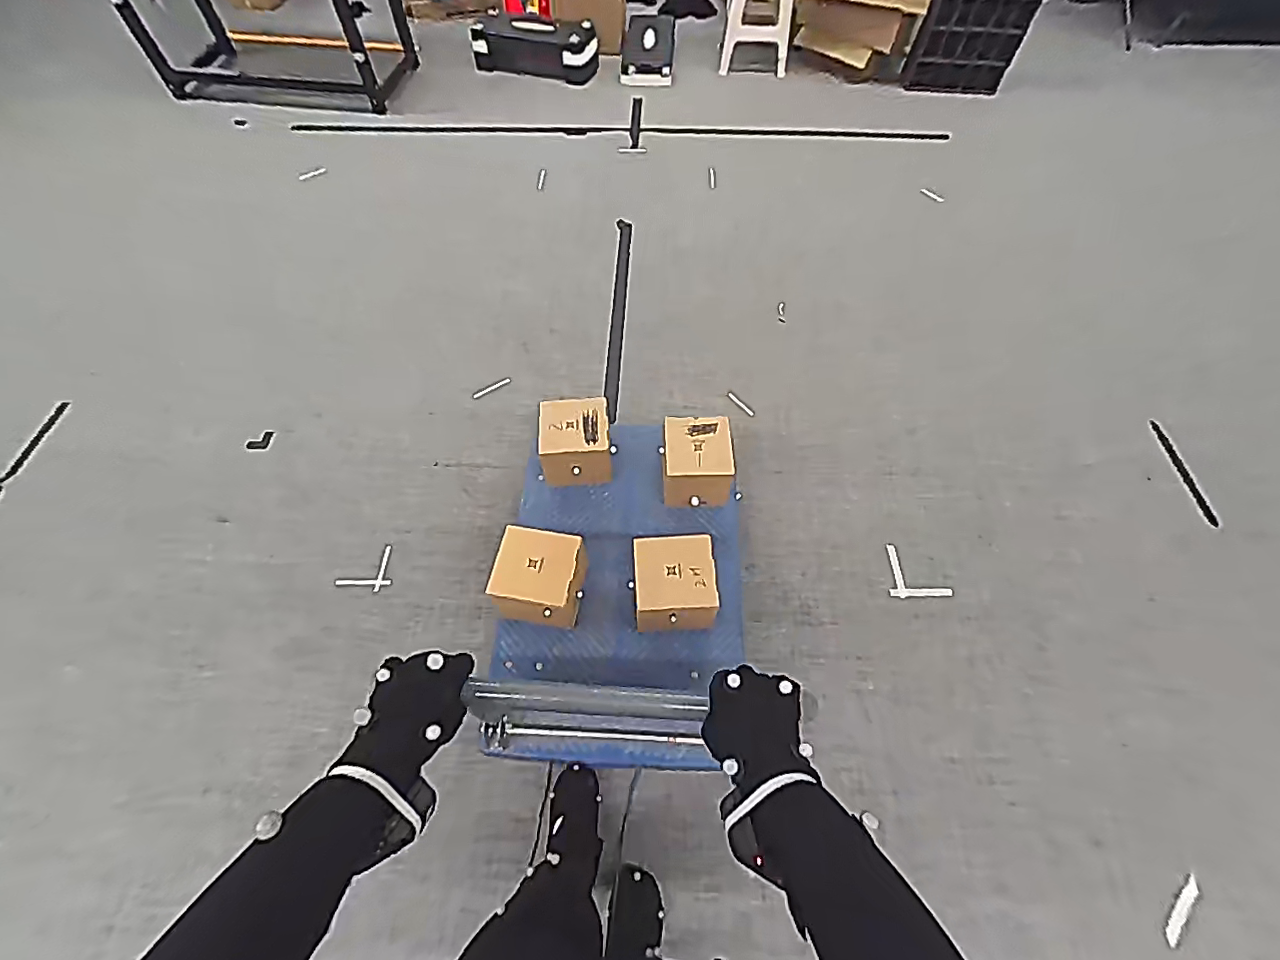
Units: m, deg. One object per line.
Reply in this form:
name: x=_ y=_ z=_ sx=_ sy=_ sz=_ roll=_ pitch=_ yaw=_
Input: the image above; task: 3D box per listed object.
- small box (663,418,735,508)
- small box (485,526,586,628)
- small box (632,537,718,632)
small box: x=0.145 y=-0.043 z=1.396 sx=0.168 sy=0.176 sz=0.179 roll=-1 pitch=60 yaw=0
small box: x=-0.229 y=0.227 z=1.237 sx=0.179 sy=0.176 sz=0.168 roll=9 pitch=59 yaw=4
small box: x=0.075 y=0.241 z=1.227 sx=0.179 sy=0.176 sz=0.168 roll=-2 pitch=59 yaw=-1
